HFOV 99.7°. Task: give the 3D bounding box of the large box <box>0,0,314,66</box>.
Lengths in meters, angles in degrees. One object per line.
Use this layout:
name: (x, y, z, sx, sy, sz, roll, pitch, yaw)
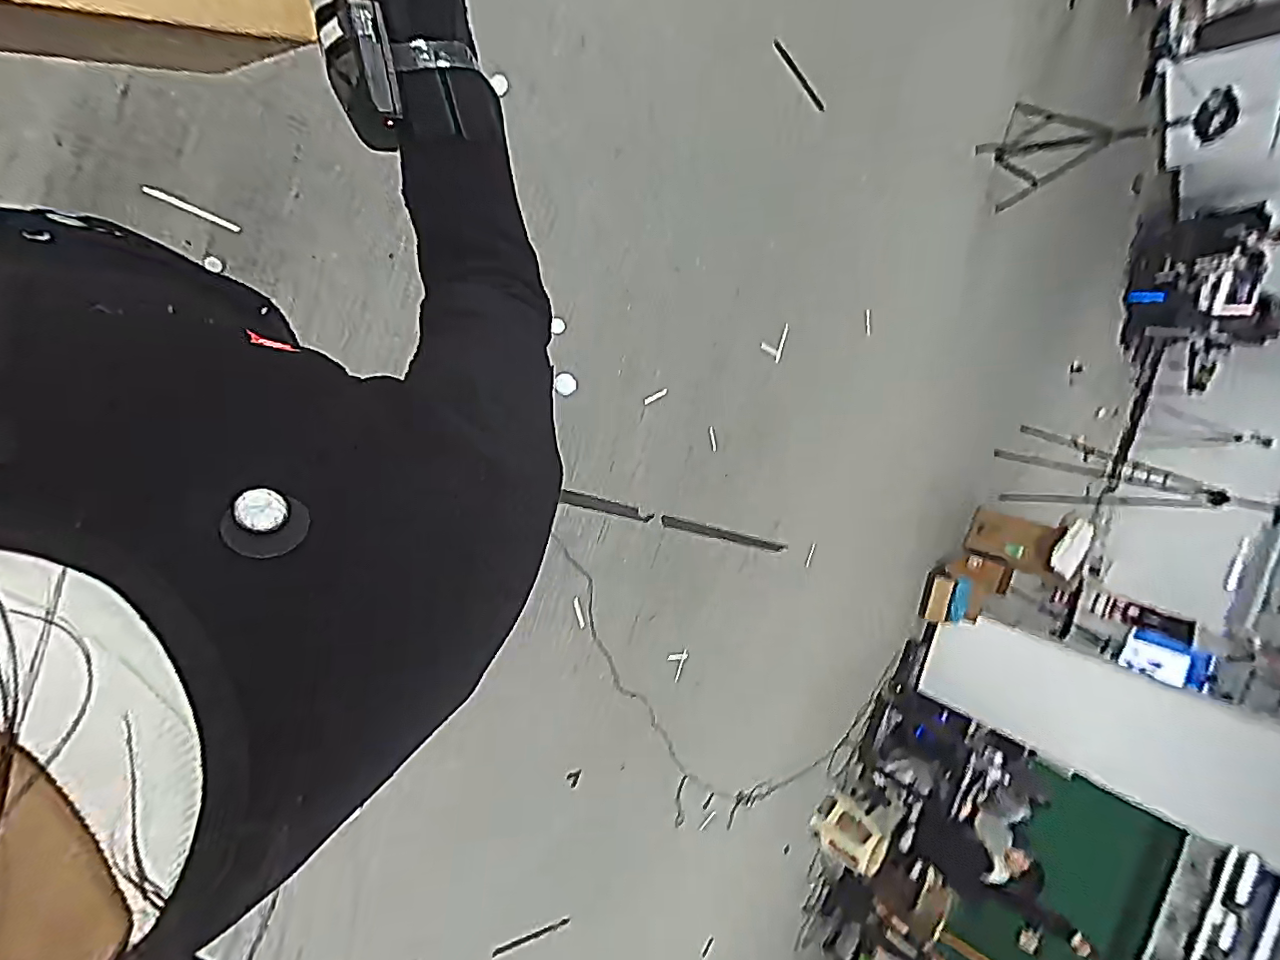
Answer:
large box: (-0.438, -0.392, 0.225, 0.408, 0.320, 0.320, -24, 131, -36)
